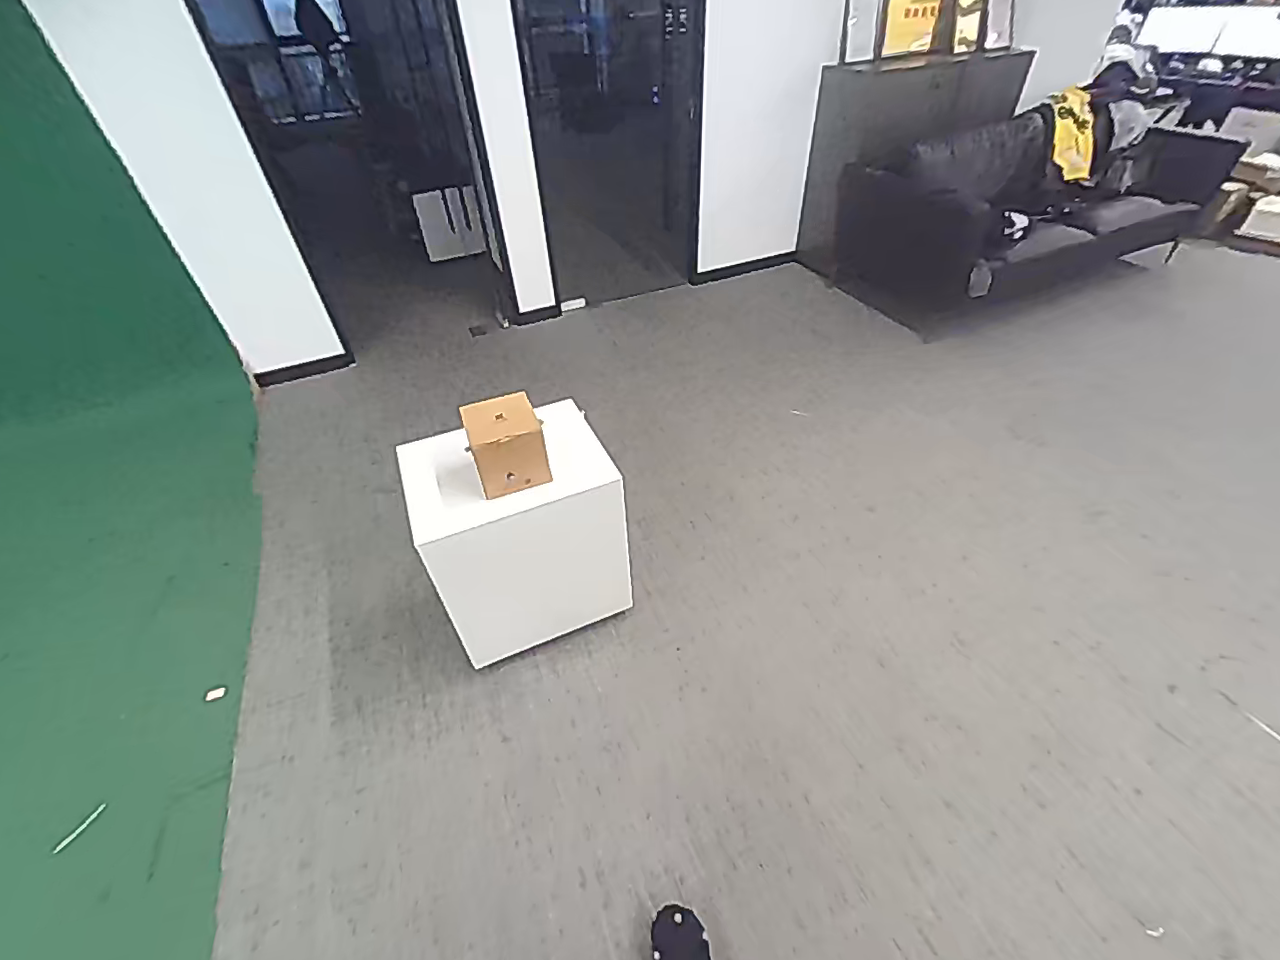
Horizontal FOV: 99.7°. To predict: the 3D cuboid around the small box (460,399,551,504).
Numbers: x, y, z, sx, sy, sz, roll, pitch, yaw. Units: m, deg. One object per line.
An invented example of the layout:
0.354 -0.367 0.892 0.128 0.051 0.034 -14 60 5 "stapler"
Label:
-0.328 -0.069 1.326 0.168 0.176 0.179 -17 43 -16 "small box"
